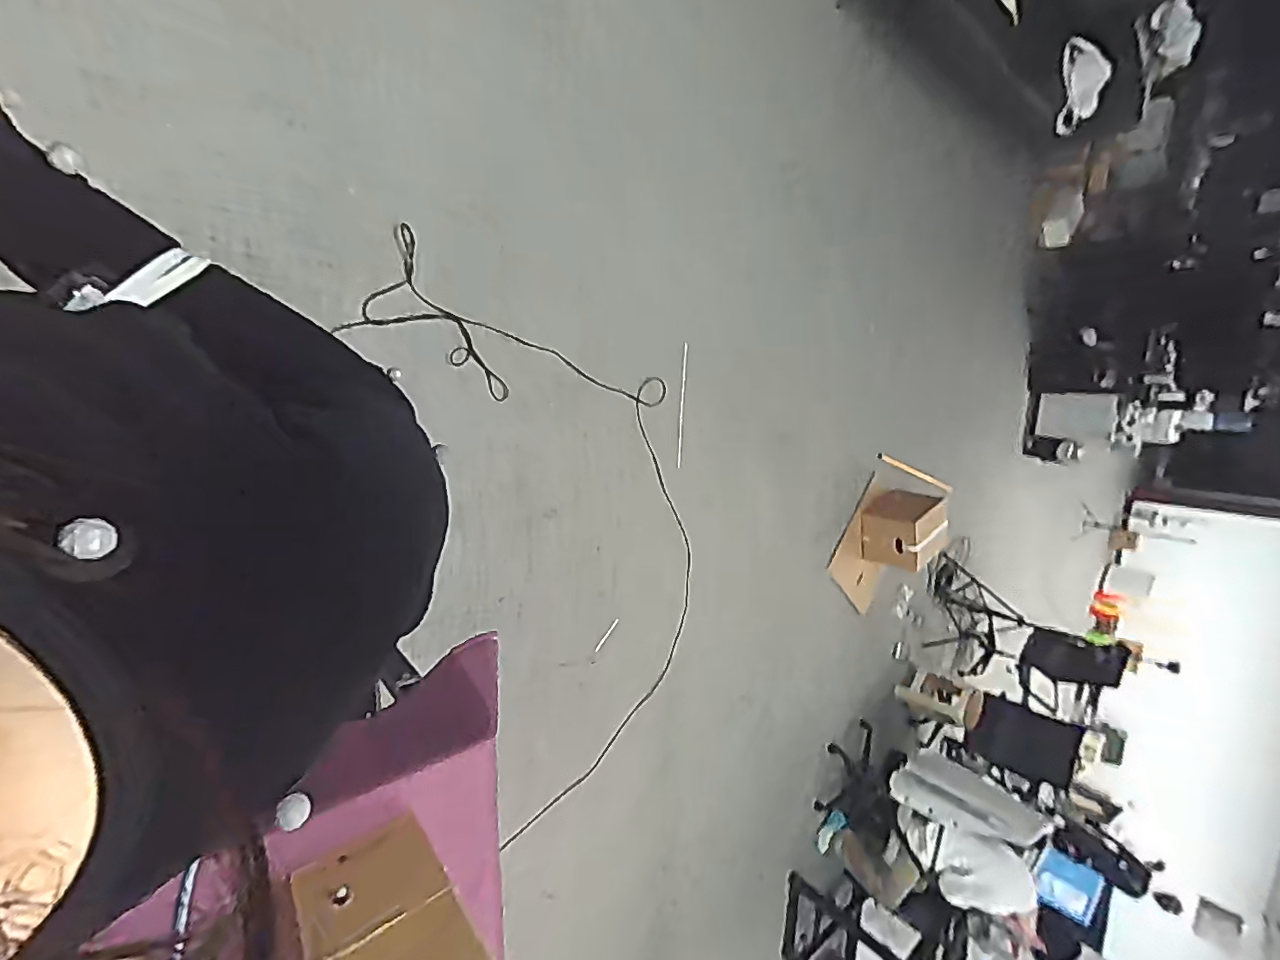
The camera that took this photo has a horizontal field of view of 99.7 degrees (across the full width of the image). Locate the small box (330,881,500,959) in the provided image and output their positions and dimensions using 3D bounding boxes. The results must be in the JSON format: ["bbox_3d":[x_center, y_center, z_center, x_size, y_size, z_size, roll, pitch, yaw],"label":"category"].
[{"bbox_3d":[-0.260,0.640,0.642,0.179,0.176,0.168,-12,107,-38],"label":"small box"}]

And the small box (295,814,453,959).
[{"bbox_3d":[-0.369,0.614,0.759,0.168,0.176,0.179,-10,106,-39],"label":"small box"}]
